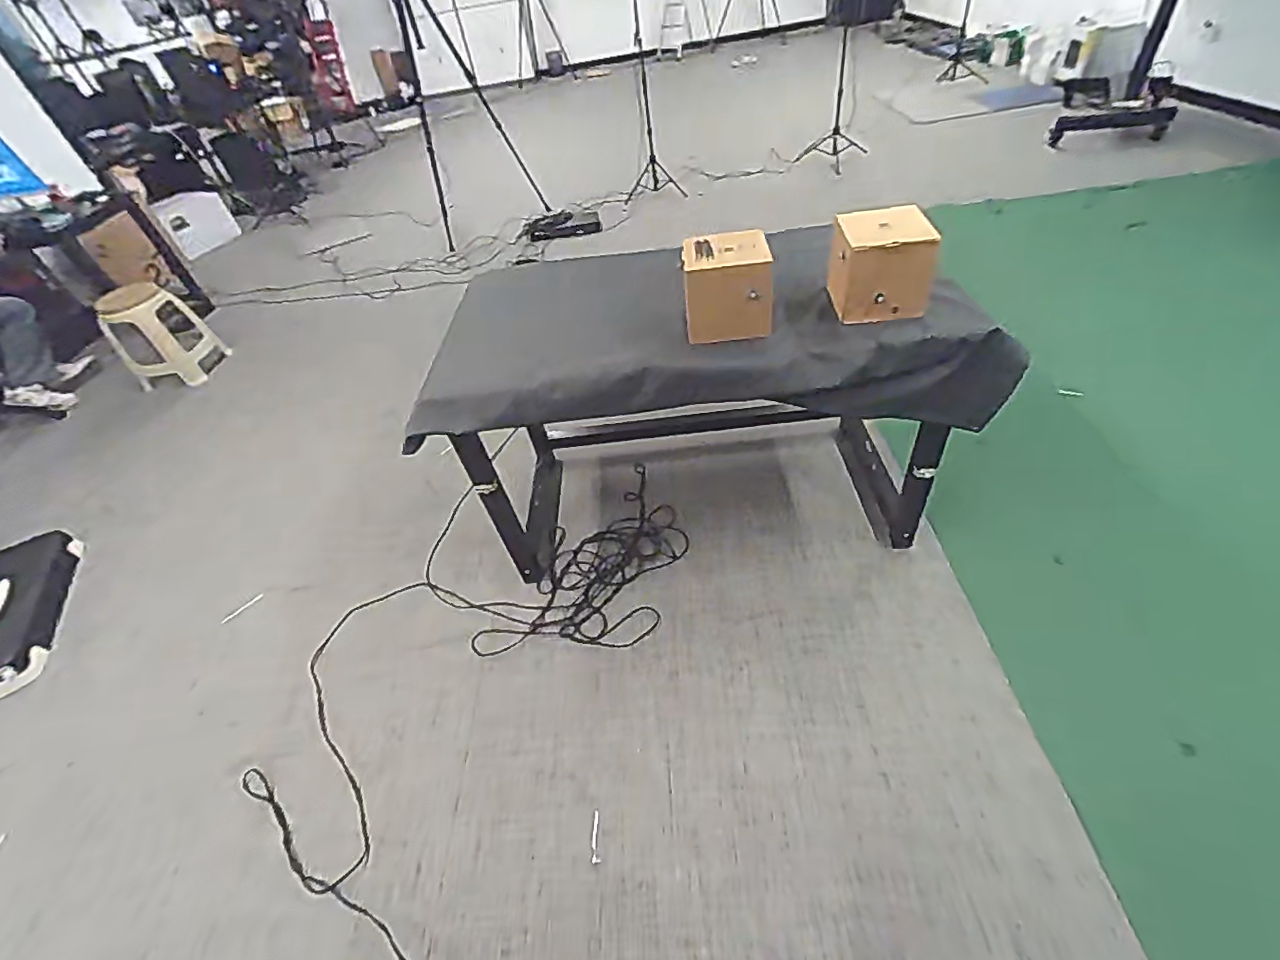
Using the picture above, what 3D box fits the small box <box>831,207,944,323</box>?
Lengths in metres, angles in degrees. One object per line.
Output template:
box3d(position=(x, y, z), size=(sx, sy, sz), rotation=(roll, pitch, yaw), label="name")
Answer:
box3d(position=(0.509, -0.454, 1.145), size=(0.168, 0.176, 0.179), rotation=(-3, 45, 8), label="small box")
